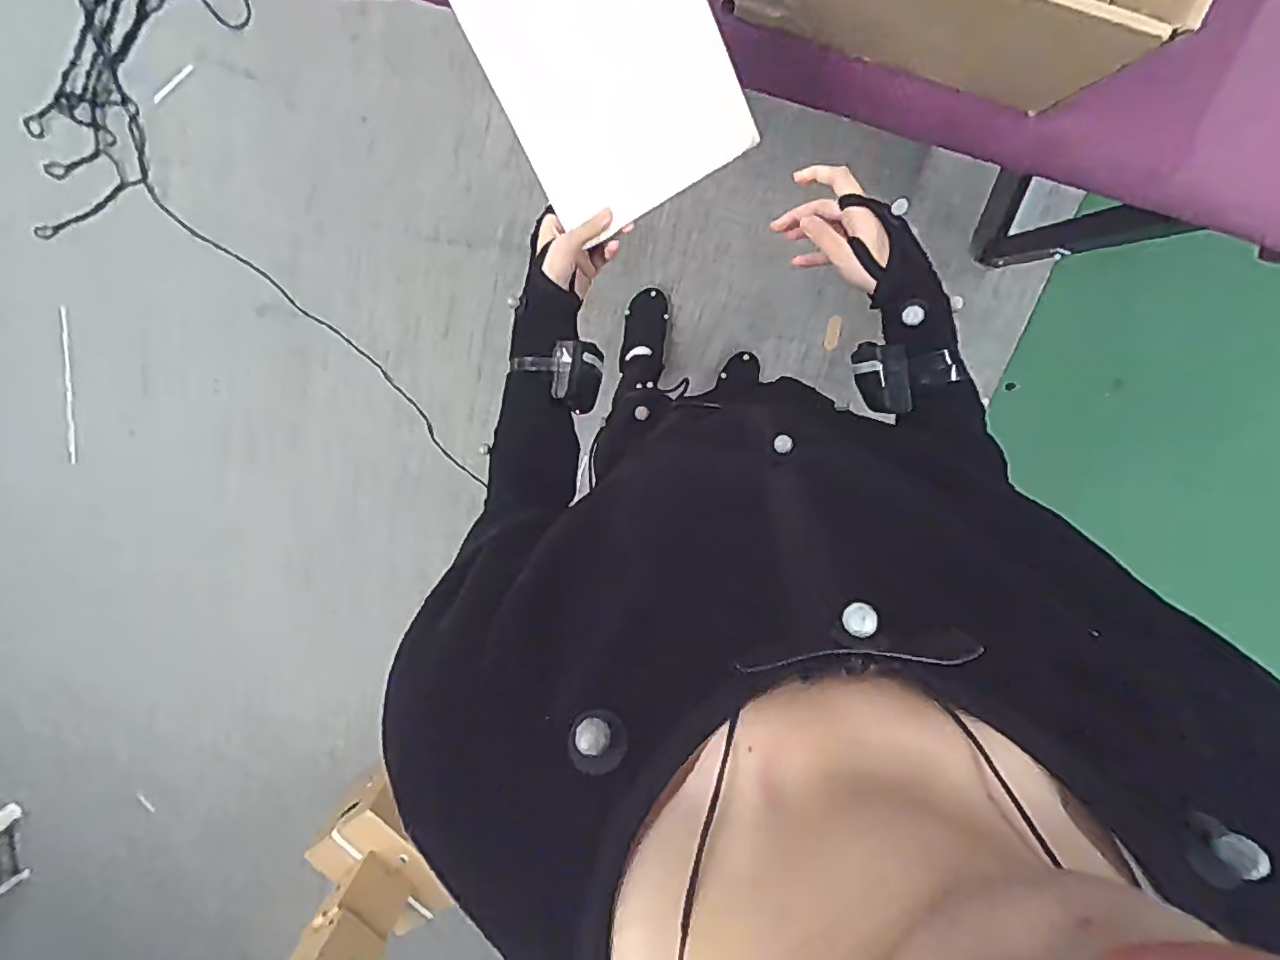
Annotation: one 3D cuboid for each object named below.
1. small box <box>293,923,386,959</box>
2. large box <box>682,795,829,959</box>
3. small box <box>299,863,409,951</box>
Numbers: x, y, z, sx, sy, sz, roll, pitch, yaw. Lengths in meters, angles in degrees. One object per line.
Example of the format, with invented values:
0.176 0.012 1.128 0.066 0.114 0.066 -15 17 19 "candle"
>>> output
-0.789 1.266 1.358 0.168 0.176 0.179 -39 101 13 "small box"
0.337 1.248 1.707 0.408 0.320 0.320 2 107 2 "large box"
-0.795 1.225 1.519 0.168 0.176 0.179 -43 98 15 "small box"
